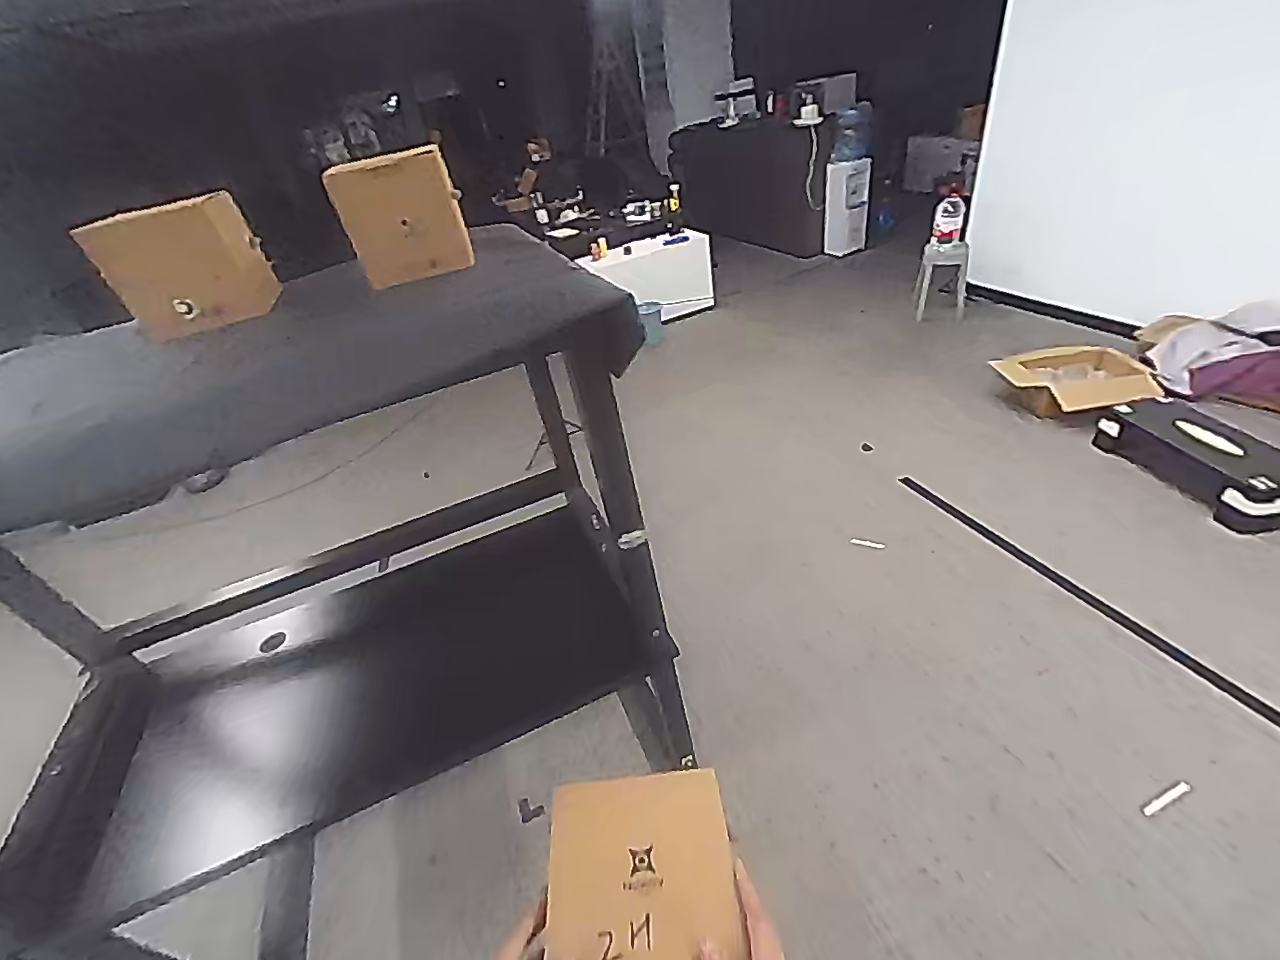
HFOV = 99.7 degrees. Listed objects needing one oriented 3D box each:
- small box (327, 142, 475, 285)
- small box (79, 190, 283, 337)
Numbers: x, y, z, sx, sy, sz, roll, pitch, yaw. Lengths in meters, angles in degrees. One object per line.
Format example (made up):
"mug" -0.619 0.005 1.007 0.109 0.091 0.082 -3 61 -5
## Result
"small box" -0.381 -0.438 0.894 0.168 0.176 0.179 -17 38 -8
"small box" -0.705 -0.346 0.861 0.168 0.176 0.179 -22 38 -12
